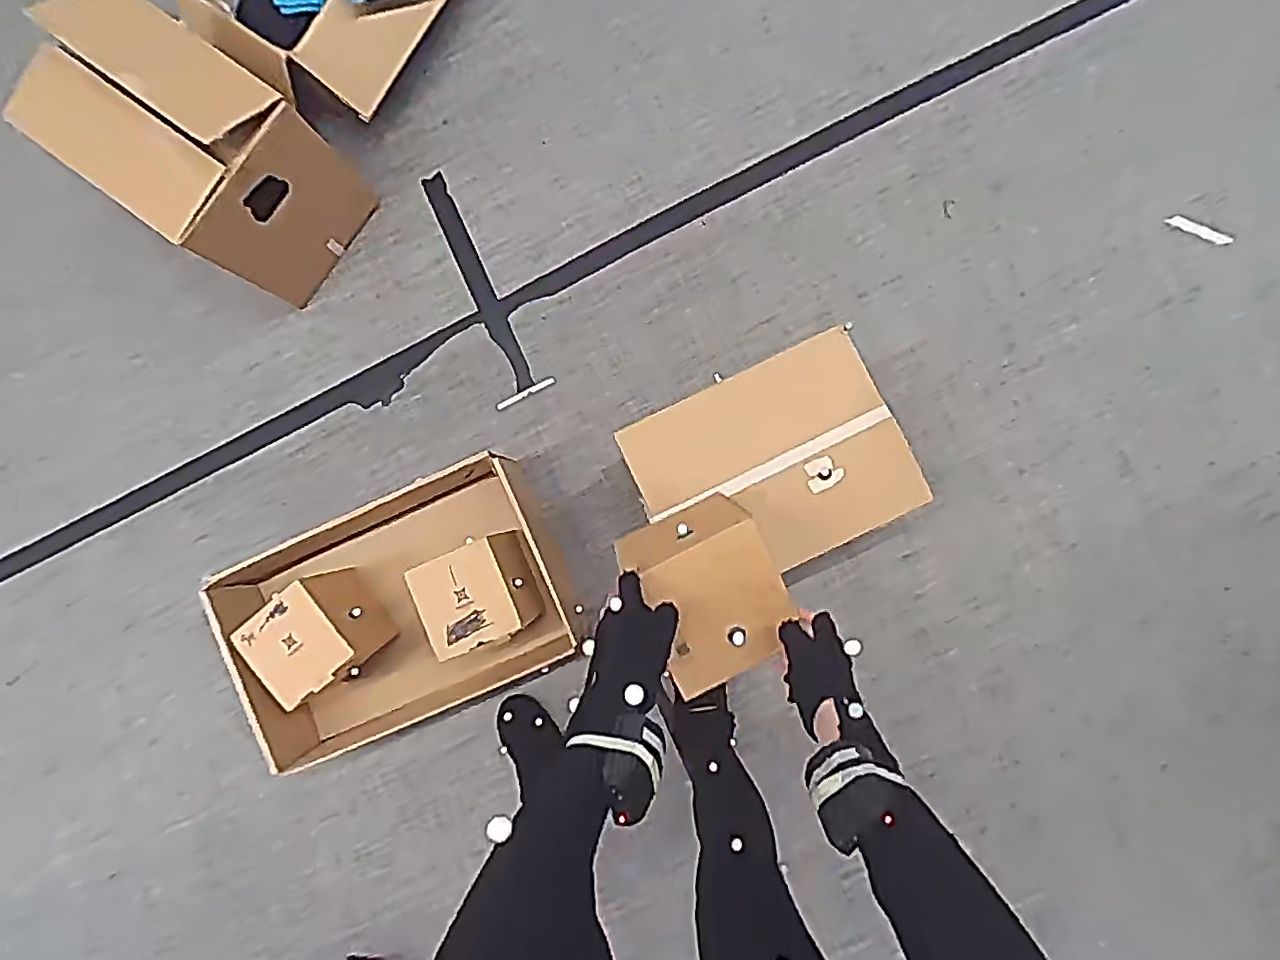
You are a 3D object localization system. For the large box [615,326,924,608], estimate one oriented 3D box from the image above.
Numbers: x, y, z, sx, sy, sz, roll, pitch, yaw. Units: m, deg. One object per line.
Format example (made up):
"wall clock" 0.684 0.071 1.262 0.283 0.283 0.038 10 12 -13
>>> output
"large box" 0.206 -0.012 0.998 0.408 0.320 0.320 -26 87 1
